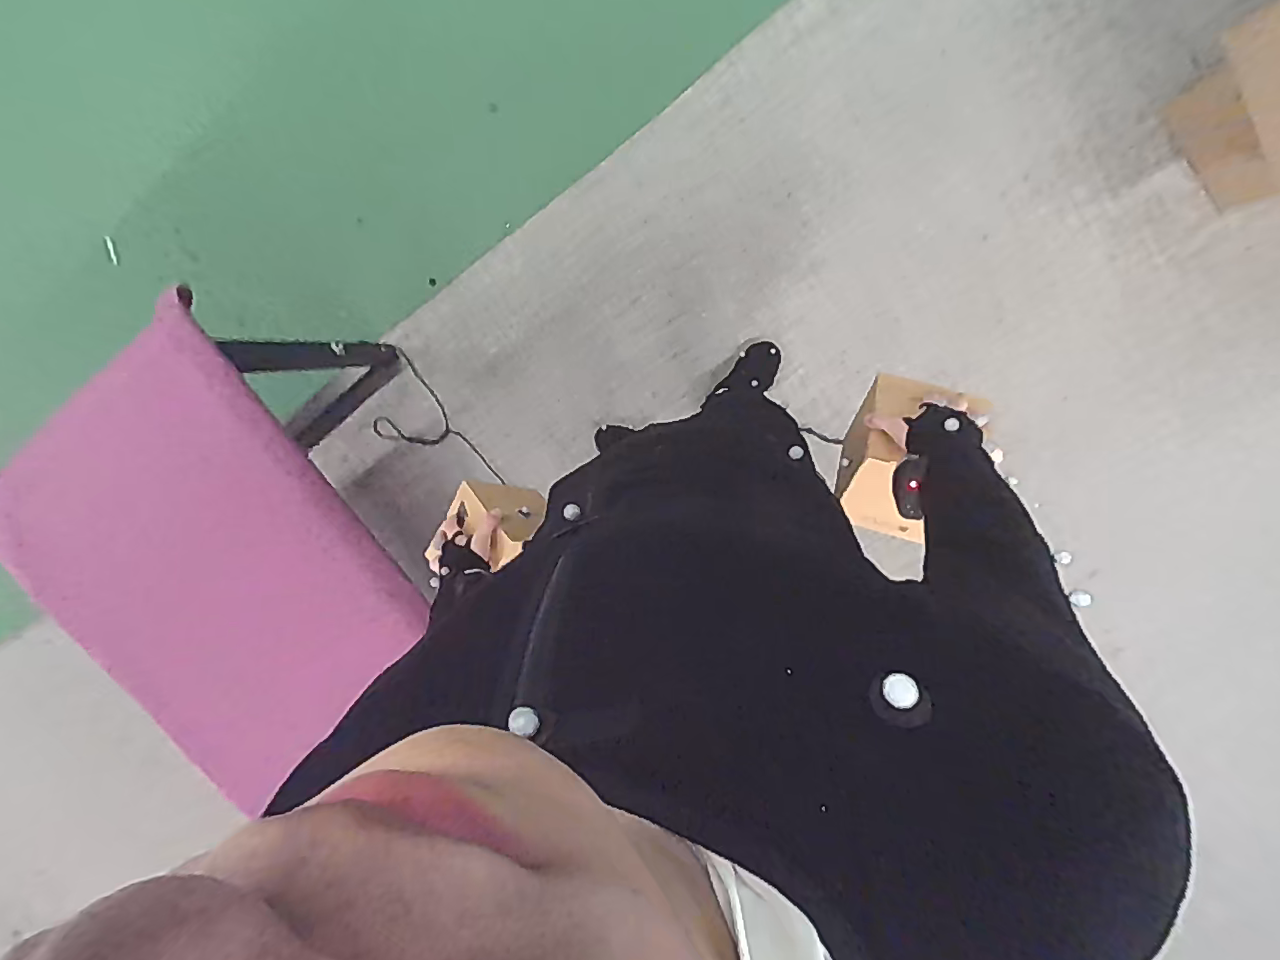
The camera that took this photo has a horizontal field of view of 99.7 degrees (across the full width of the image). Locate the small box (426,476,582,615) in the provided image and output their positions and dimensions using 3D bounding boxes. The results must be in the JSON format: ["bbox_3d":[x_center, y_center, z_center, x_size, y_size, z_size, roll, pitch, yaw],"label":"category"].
[{"bbox_3d":[-0.239,0.116,0.958,0.179,0.176,0.168,41,109,33],"label":"small box"}]

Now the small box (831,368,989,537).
[{"bbox_3d":[0.406,-0.037,0.833,0.168,0.179,0.176,17,148,9],"label":"small box"}]
